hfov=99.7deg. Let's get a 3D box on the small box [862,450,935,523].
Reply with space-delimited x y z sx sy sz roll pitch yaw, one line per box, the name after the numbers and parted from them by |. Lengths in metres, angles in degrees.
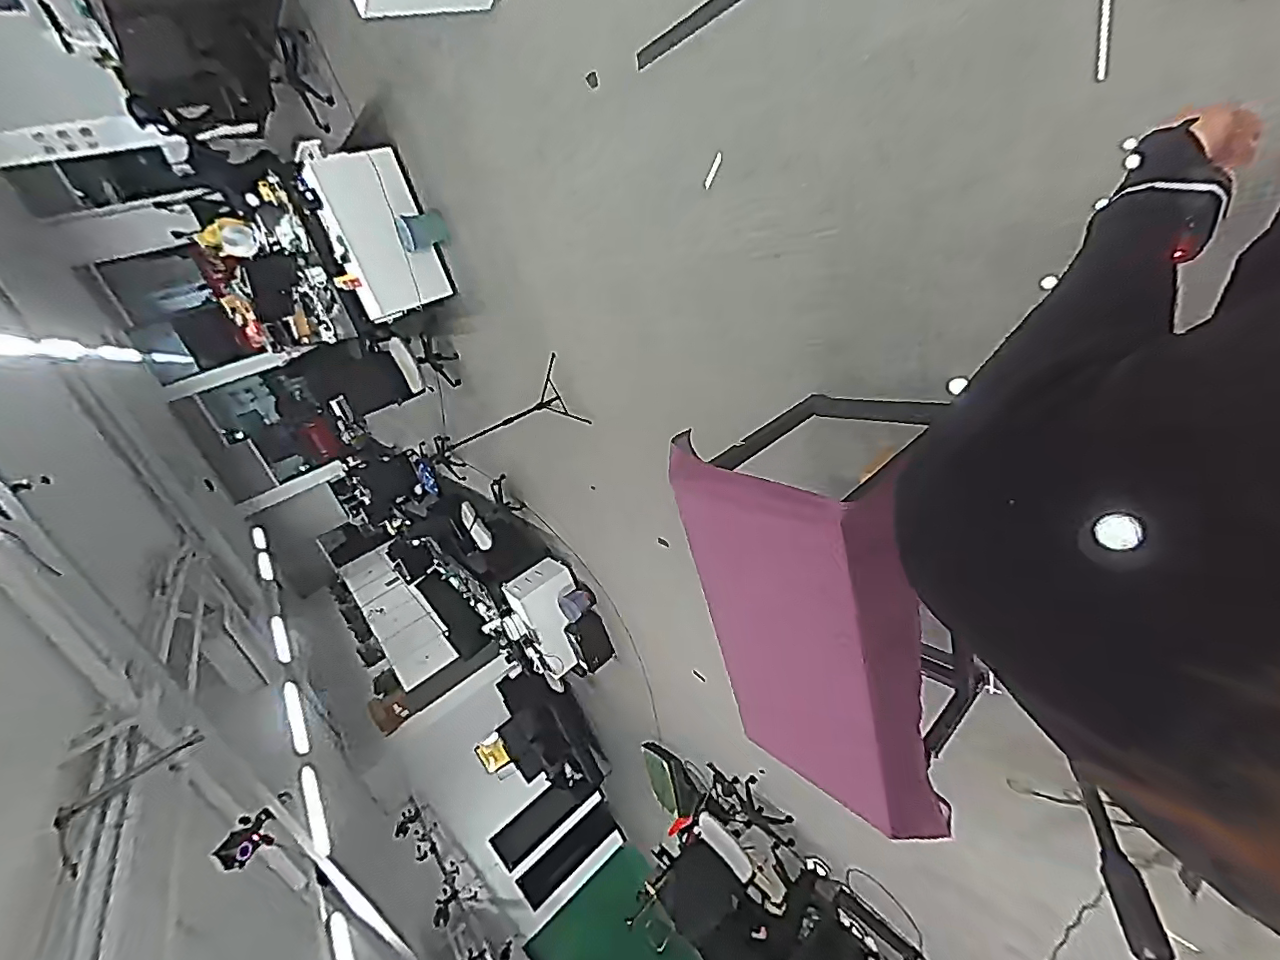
0.885 0.016 1.844 0.168 0.176 0.179 18 133 51 | small box
